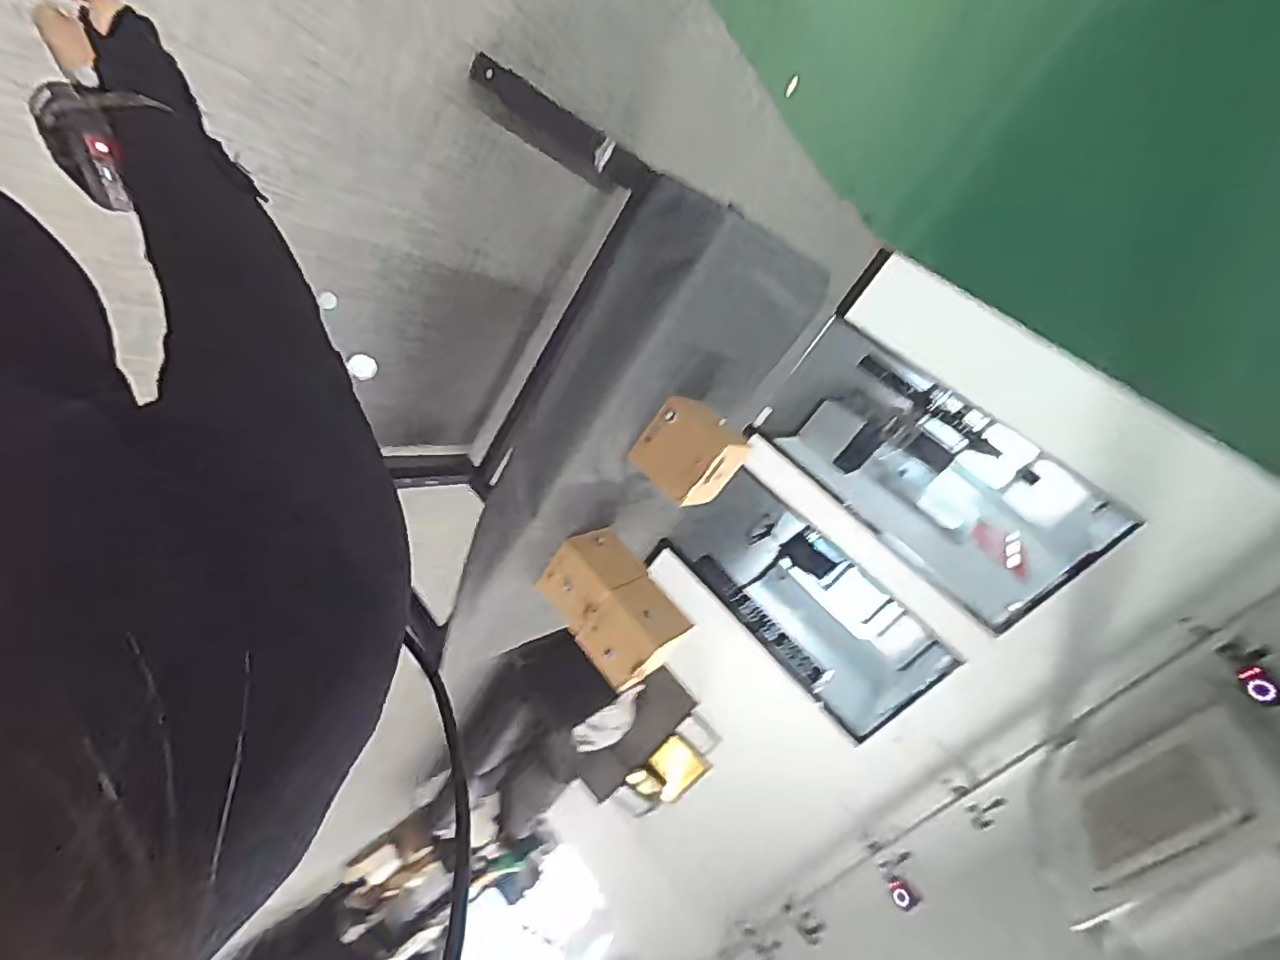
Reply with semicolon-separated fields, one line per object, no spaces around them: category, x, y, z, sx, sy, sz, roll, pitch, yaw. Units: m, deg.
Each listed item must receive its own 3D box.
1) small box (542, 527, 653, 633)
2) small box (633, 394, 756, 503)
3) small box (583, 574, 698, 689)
small box;-0.107;0.236;1.325;0.179;0.176;0.168;-10;139;-55
small box;0.117;-0.071;1.180;0.168;0.176;0.179;-54;158;21
small box;-0.002;0.346;1.267;0.168;0.176;0.179;-54;157;23
